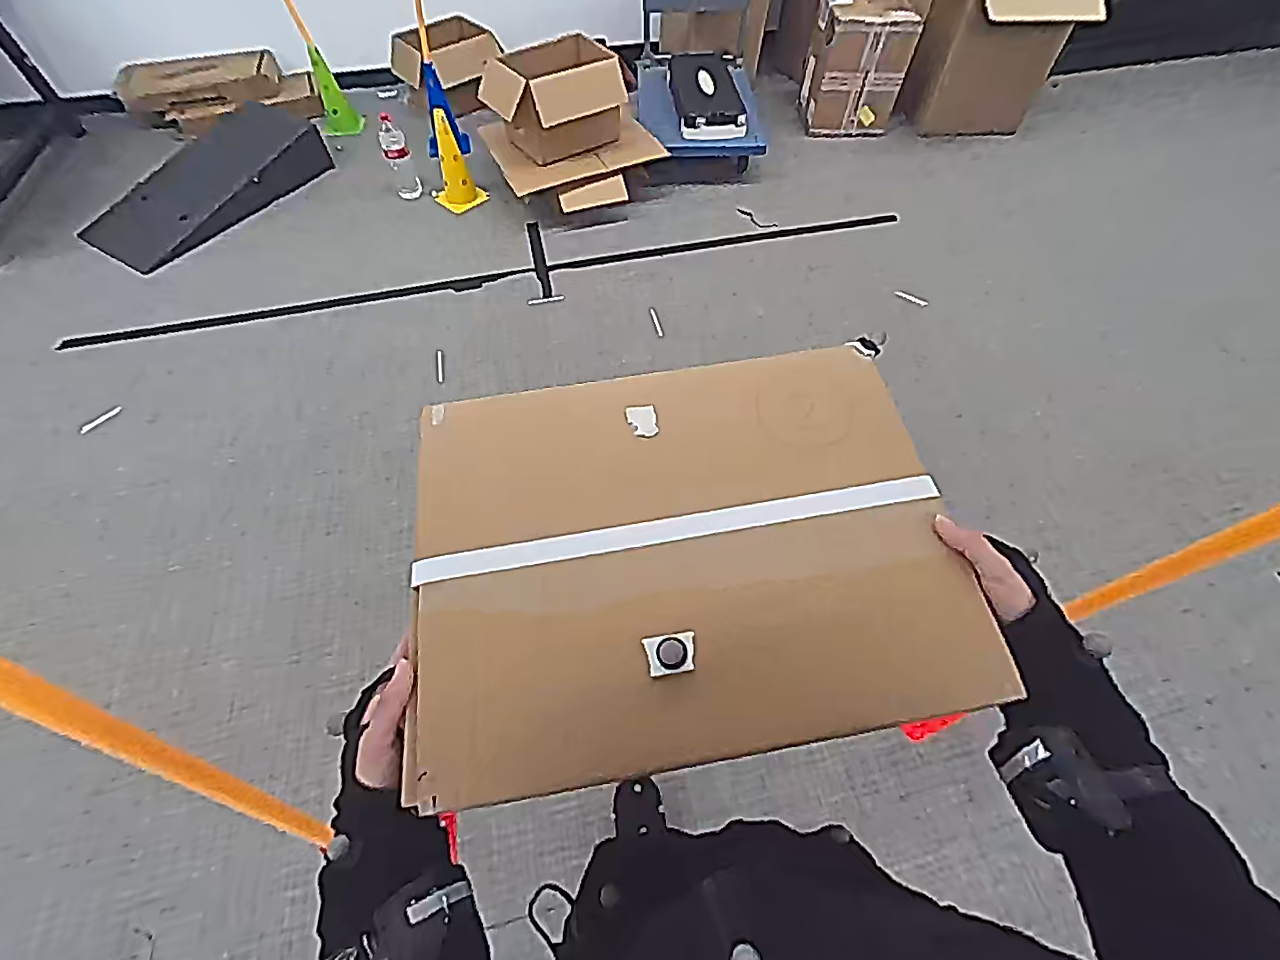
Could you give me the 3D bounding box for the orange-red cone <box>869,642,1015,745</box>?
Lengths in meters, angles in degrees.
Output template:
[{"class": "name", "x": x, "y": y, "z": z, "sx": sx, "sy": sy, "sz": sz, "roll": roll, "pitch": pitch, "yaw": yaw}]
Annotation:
[{"class": "orange-red cone", "x": 0.683, "y": 0.417, "z": 1.162, "sx": 0.199, "sy": 0.360, "sz": 0.198, "roll": -18, "pitch": 59, "yaw": -13}]
